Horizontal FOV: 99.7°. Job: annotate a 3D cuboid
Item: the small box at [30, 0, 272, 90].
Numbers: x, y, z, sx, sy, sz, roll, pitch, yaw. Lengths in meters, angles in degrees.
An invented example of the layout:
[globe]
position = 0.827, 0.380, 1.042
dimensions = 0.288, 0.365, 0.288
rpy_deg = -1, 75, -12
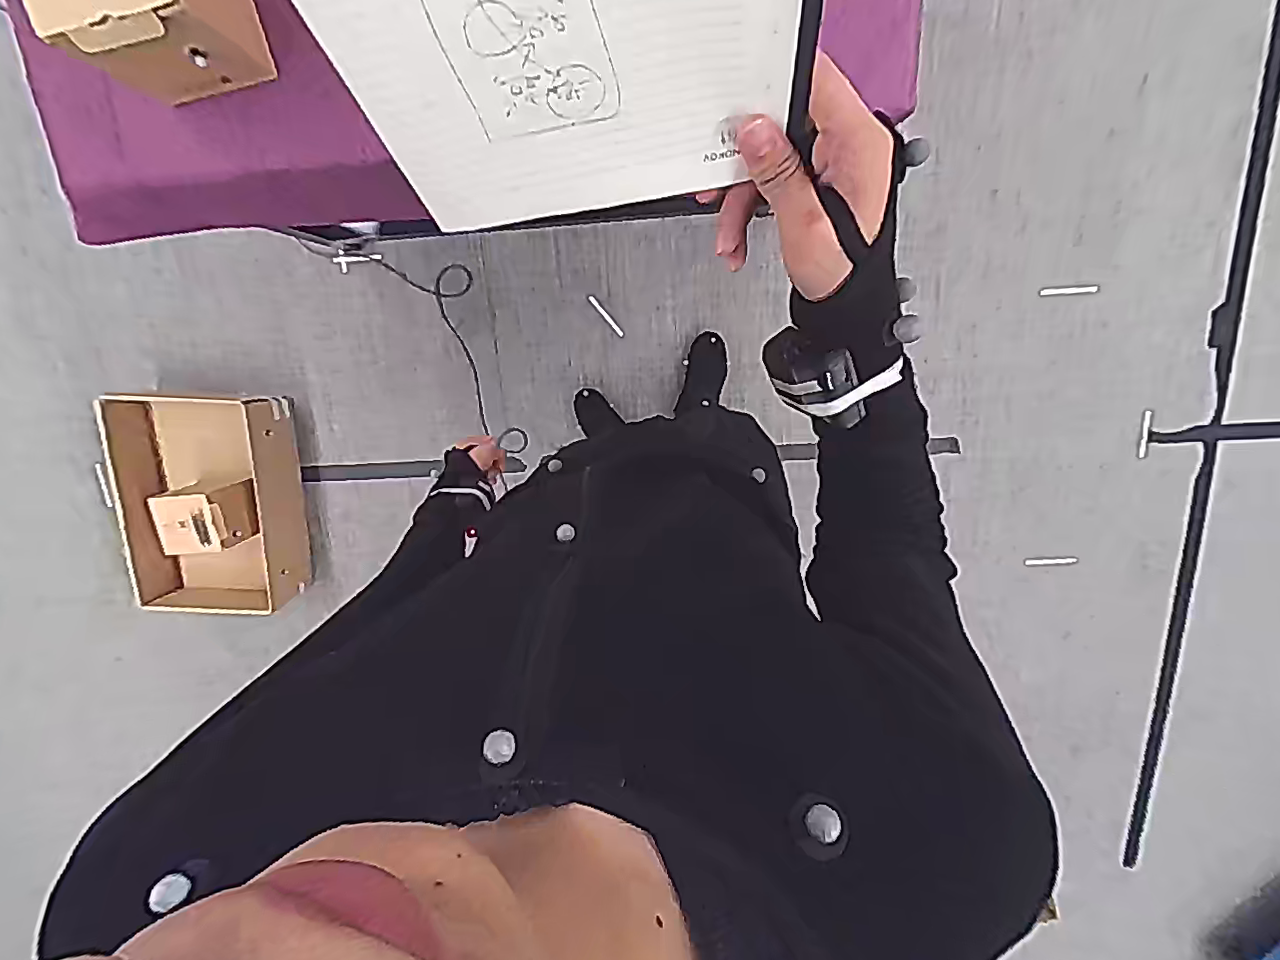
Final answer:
[small box]
position = -0.590, -0.604, 0.647
dimensions = 0.168, 0.176, 0.179
rpy_deg = -11, 104, 3
